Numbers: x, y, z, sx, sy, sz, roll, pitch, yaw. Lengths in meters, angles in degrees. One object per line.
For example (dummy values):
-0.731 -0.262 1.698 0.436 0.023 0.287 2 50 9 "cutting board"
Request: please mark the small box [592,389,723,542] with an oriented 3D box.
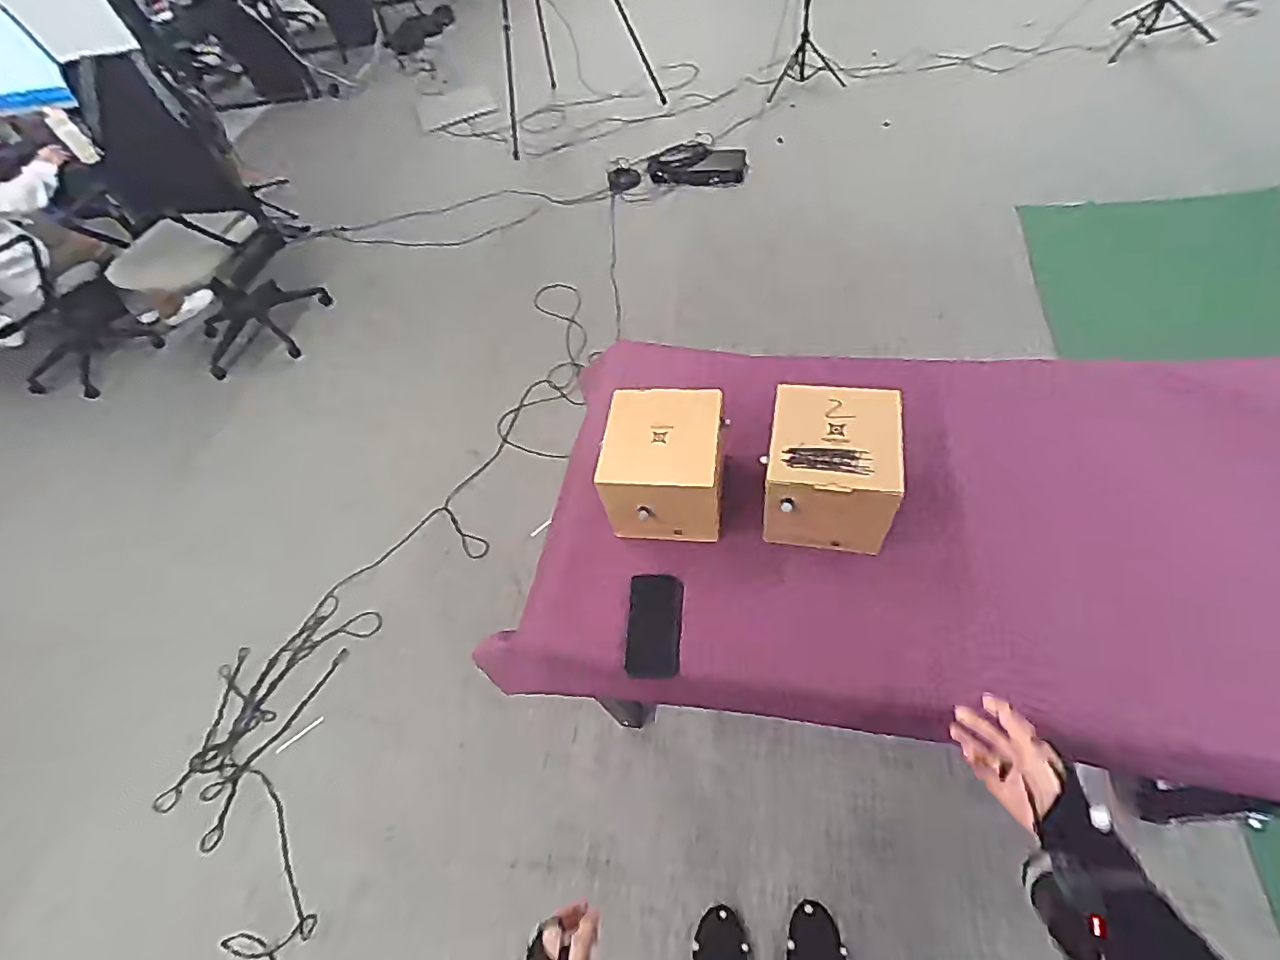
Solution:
0.039 -0.018 0.834 0.168 0.176 0.179 1 55 12 "small box"
